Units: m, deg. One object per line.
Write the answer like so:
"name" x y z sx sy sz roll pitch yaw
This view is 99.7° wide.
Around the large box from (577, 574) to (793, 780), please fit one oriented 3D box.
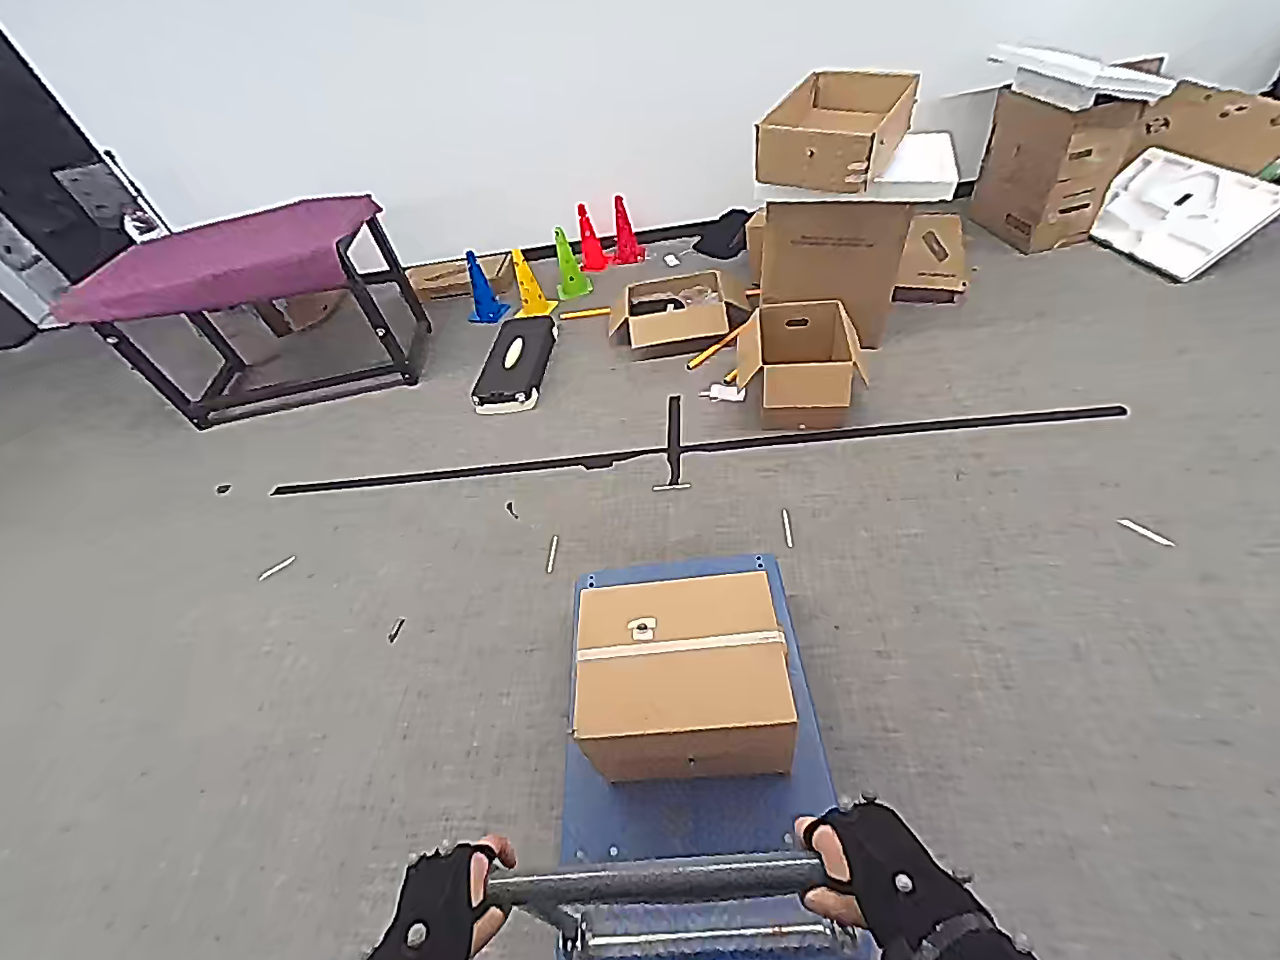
"large box" 0.099 0.441 1.191 0.408 0.320 0.320 -8 46 6
